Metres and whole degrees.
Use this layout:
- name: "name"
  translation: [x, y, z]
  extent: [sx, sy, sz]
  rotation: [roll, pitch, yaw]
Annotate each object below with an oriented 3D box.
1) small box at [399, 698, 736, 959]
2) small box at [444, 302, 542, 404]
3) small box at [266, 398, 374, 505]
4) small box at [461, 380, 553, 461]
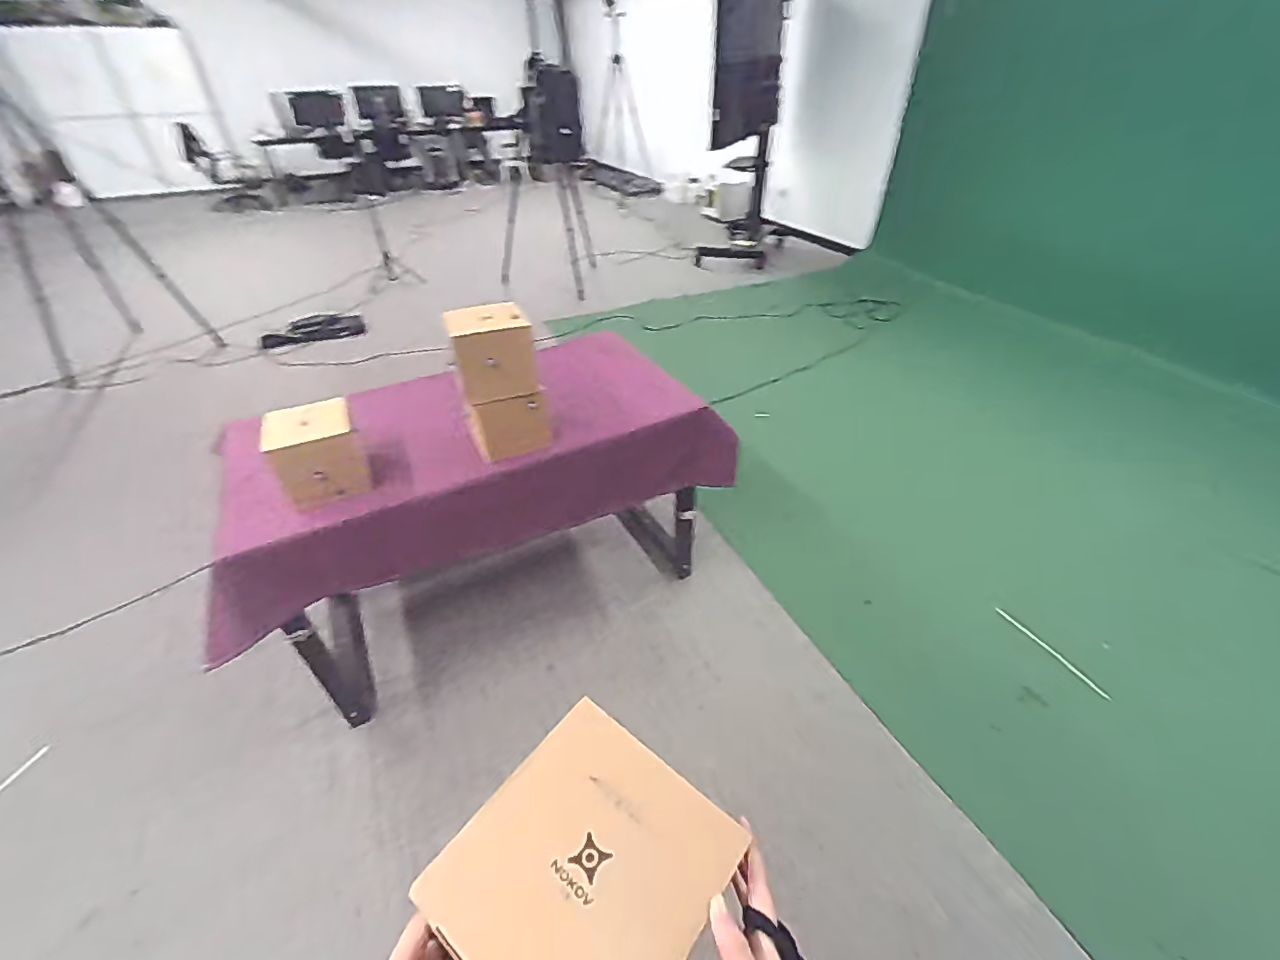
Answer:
- name: "small box"
  translation: [-0.047, 0.321, 0.424]
  extent: [0.168, 0.176, 0.179]
  rotation: [30, 49, 25]
- name: "small box"
  translation: [-0.340, -0.295, 1.261]
  extent: [0.179, 0.176, 0.168]
  rotation: [-16, 40, -17]
- name: "small box"
  translation: [-0.725, -0.060, 1.238]
  extent: [0.168, 0.176, 0.179]
  rotation: [-17, 41, -20]
- name: "small box"
  translation: [-0.332, -0.170, 1.368]
  extent: [0.179, 0.176, 0.168]
  rotation: [-18, 41, -21]
